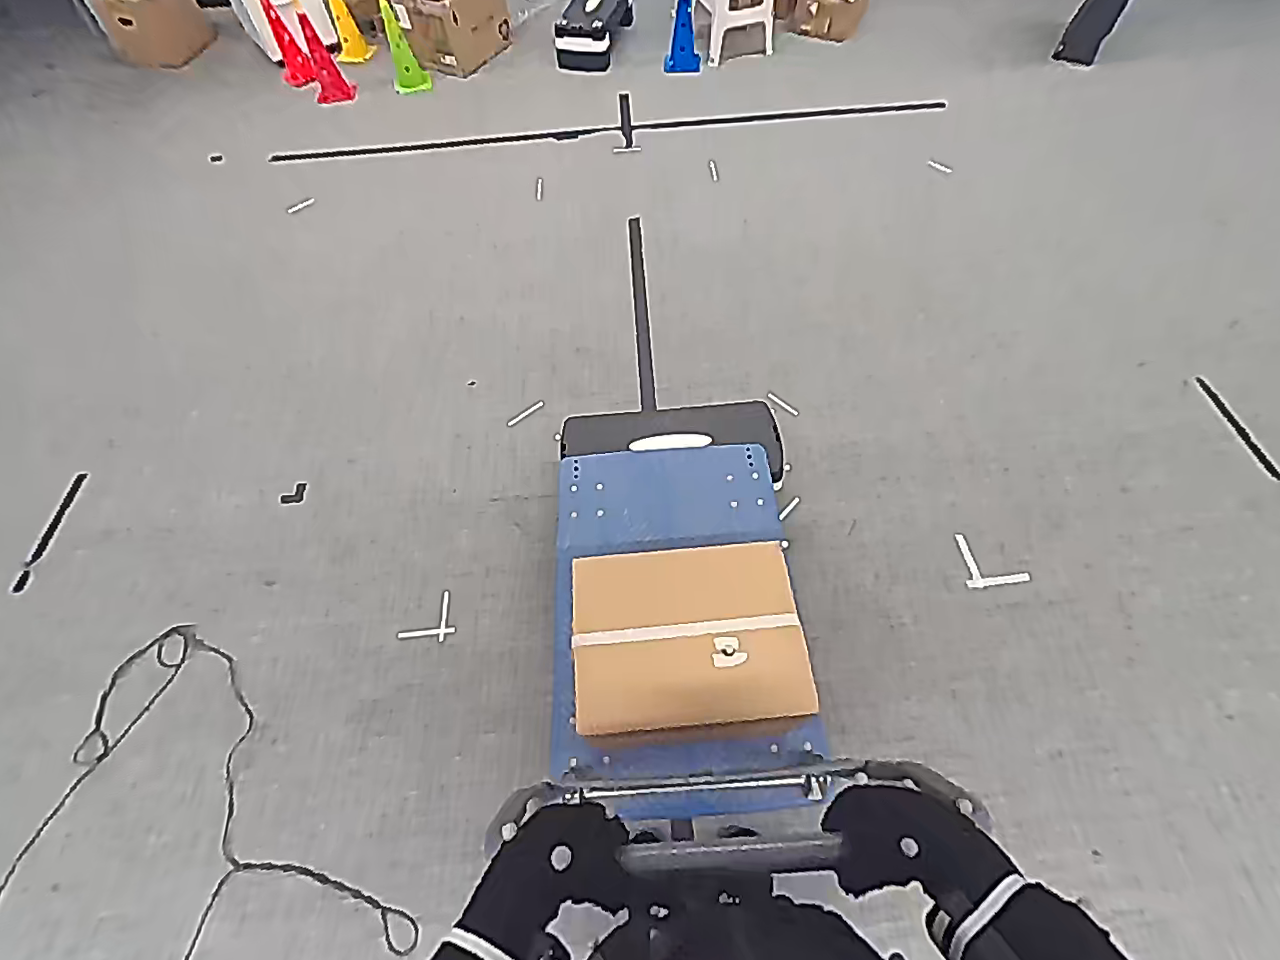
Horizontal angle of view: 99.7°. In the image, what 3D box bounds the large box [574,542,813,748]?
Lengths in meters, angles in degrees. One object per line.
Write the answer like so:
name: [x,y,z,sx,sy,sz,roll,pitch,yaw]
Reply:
large box: [0.085,0.347,1.110,0.408,0.320,0.320,-5,60,-2]
